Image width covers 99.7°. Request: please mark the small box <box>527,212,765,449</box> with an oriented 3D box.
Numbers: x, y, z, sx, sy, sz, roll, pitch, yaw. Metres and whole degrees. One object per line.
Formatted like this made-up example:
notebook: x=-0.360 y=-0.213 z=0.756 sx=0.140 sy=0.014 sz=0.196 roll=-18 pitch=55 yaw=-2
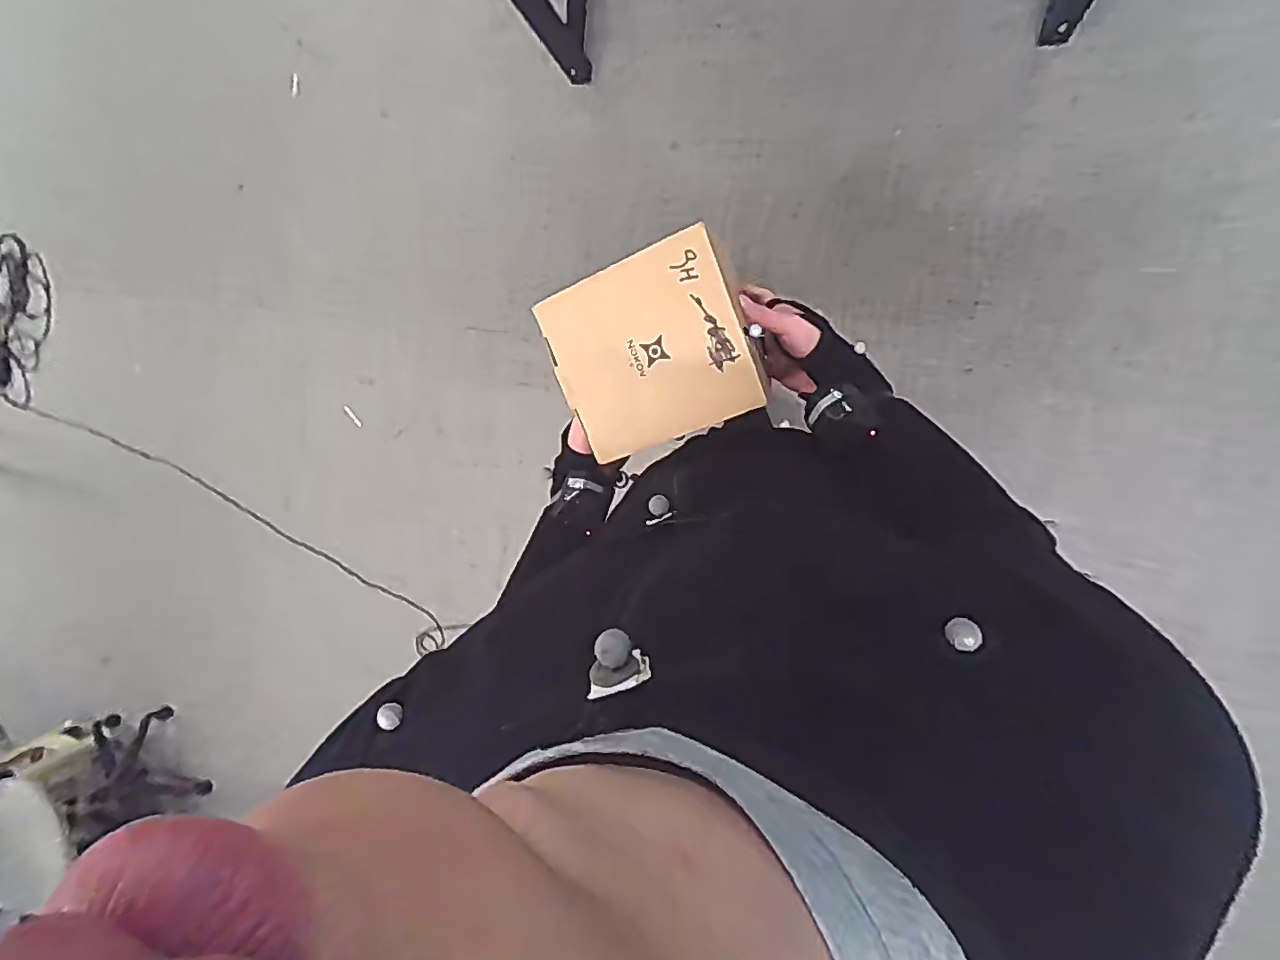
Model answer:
small box: x=0.019 y=-0.149 z=0.562 sx=0.179 sy=0.176 sz=0.168 roll=-17 pitch=103 yaw=20
